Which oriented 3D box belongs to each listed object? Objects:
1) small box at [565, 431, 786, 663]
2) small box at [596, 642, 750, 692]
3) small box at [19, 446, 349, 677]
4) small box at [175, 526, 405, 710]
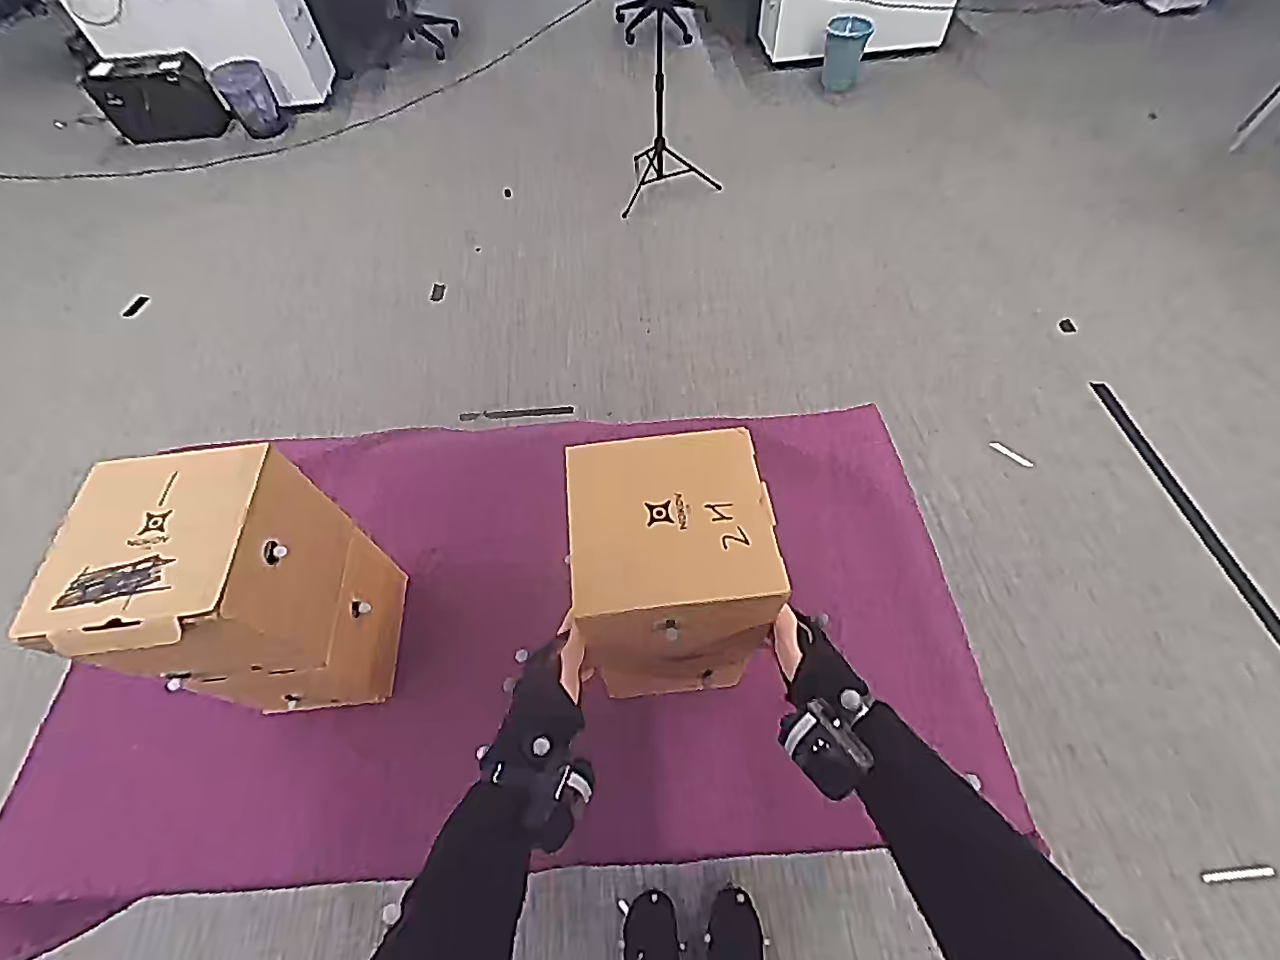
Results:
[{"bbox_3d":[0.026,0.073,0.532,0.179,0.176,0.168,-6,59,-2],"label":"small box"},{"bbox_3d":[0.033,0.157,0.673,0.168,0.176,0.179,-5,57,-1],"label":"small box"},{"bbox_3d":[-0.423,0.090,0.544,0.168,0.176,0.179,-7,58,-2],"label":"small box"},{"bbox_3d":[-0.415,0.178,0.683,0.168,0.176,0.179,-6,59,-1],"label":"small box"}]
